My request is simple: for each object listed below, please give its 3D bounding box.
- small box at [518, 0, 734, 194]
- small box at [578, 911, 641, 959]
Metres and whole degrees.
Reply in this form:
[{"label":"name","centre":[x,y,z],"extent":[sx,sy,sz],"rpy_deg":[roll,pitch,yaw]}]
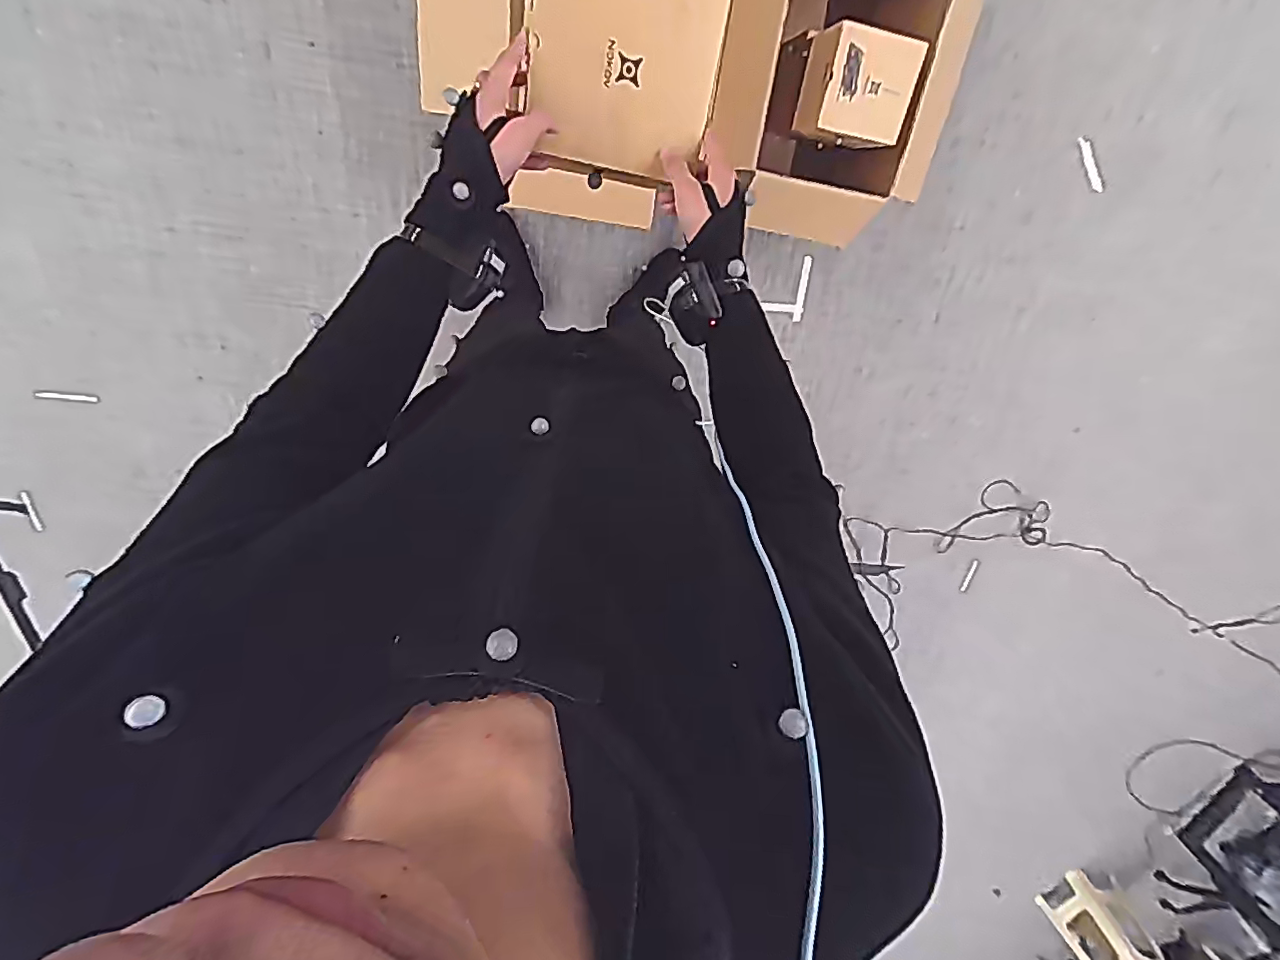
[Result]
[{"label":"small box","centre":[-0.029,-0.406,0.557],"extent":[0.179,0.176,0.168],"rpy_deg":[4,117,-15]},{"label":"small box","centre":[-0.090,1.351,1.524],"extent":[0.168,0.176,0.179],"rpy_deg":[3,117,-6]}]
